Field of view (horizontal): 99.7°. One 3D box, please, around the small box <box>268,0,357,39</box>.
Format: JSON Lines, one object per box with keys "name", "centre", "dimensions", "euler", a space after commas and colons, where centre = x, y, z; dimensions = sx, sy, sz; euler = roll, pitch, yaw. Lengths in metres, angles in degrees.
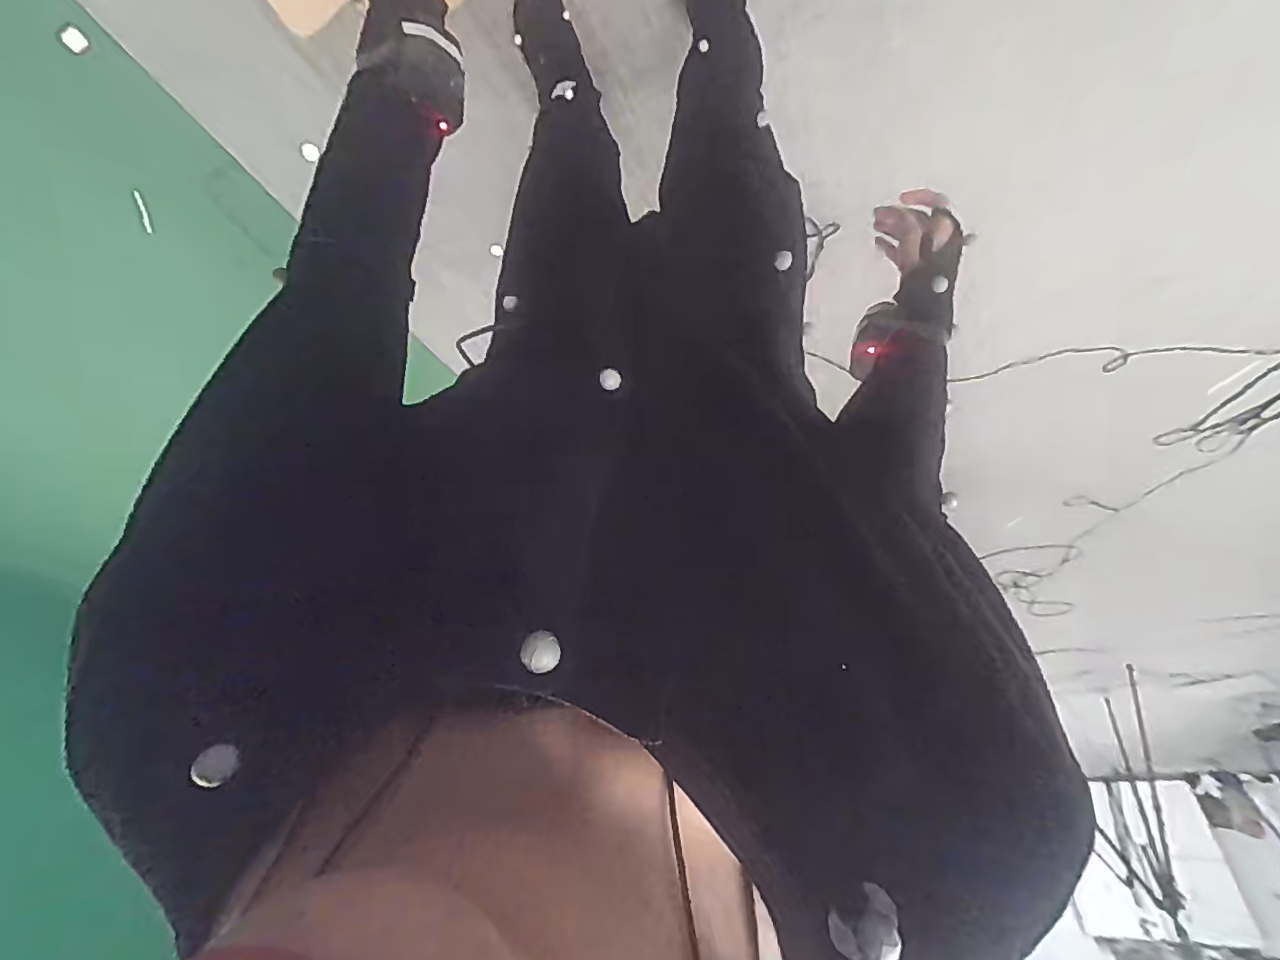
{"name": "small box", "centre": [-0.359, -0.647, 0.596], "dimensions": [0.179, 0.176, 0.168], "euler": [-17, 140, 24]}
